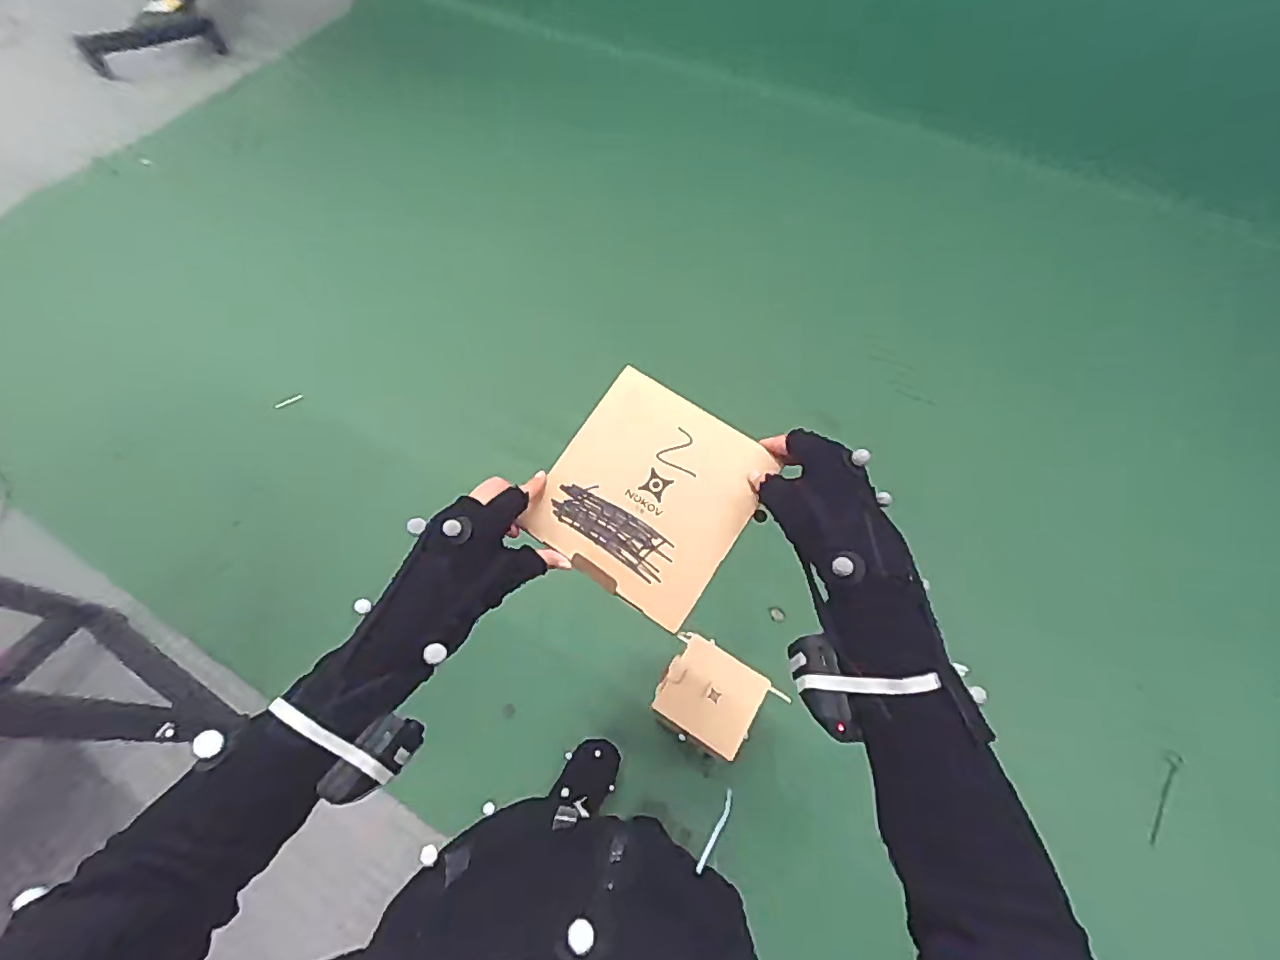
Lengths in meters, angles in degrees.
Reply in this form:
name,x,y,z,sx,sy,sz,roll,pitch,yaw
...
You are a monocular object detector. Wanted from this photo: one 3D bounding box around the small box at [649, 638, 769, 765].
name,x,y,z,sx,sy,sz,roll,pitch,yaw
small box,0.134,0.450,1.100,0.179,0.176,0.168,30,67,15
